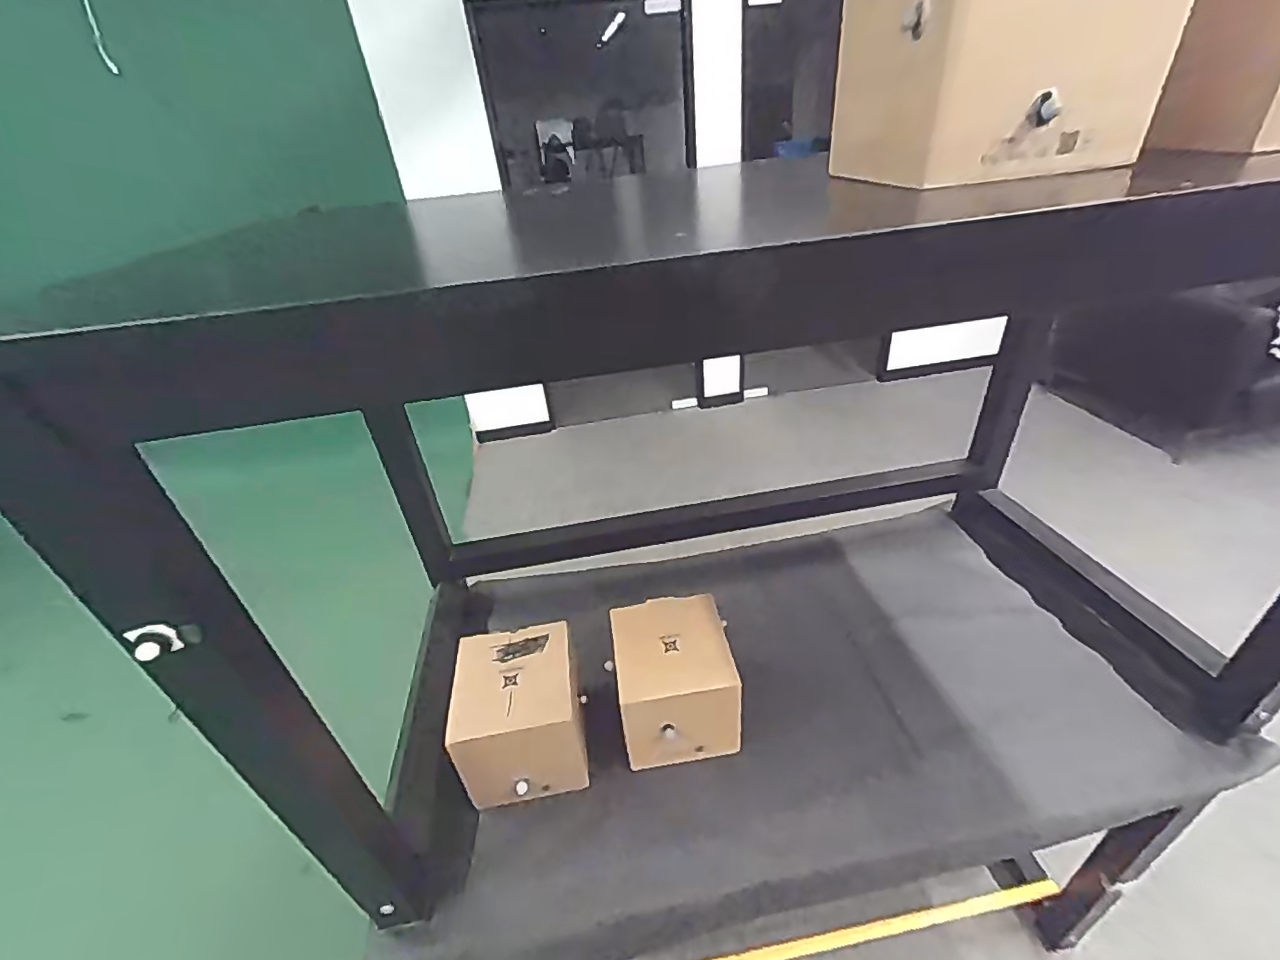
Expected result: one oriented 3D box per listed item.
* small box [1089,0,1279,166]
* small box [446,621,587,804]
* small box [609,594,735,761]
[{"bbox_3d":[0.516,-0.352,0.426,0.168,0.176,0.179,-3,32,5],"label":"small box"},{"bbox_3d":[-0.175,0.344,0.810,0.168,0.176,0.179,-9,33,-5],"label":"small box"},{"bbox_3d":[0.048,0.307,0.836,0.168,0.176,0.179,-8,32,-4],"label":"small box"}]
